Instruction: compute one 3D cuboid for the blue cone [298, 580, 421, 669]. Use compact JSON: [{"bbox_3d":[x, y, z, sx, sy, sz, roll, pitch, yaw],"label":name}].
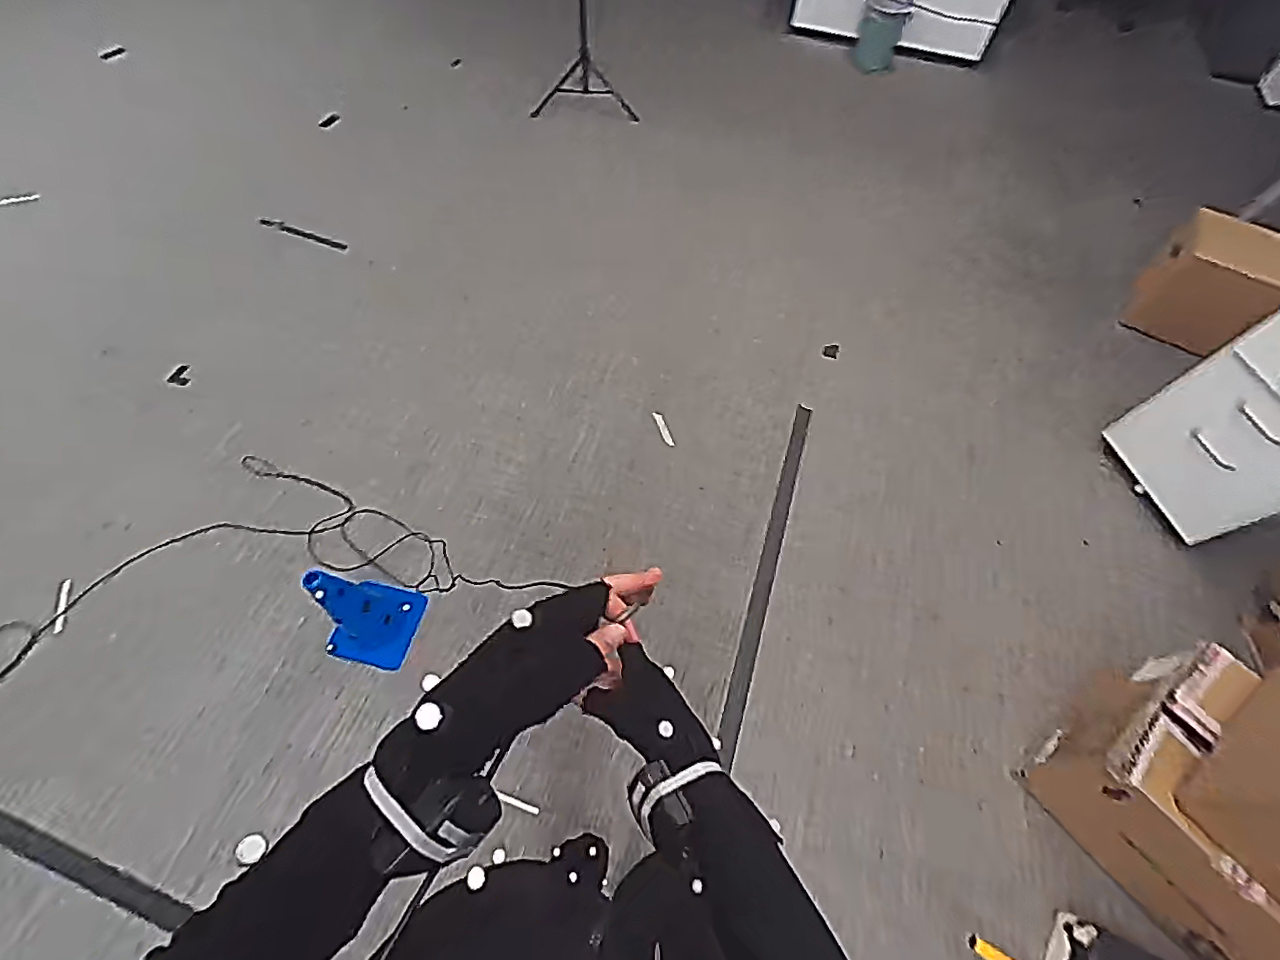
[{"bbox_3d":[-0.668,0.295,1.242,0.193,0.380,0.192,14,62,5],"label":"blue cone"}]
